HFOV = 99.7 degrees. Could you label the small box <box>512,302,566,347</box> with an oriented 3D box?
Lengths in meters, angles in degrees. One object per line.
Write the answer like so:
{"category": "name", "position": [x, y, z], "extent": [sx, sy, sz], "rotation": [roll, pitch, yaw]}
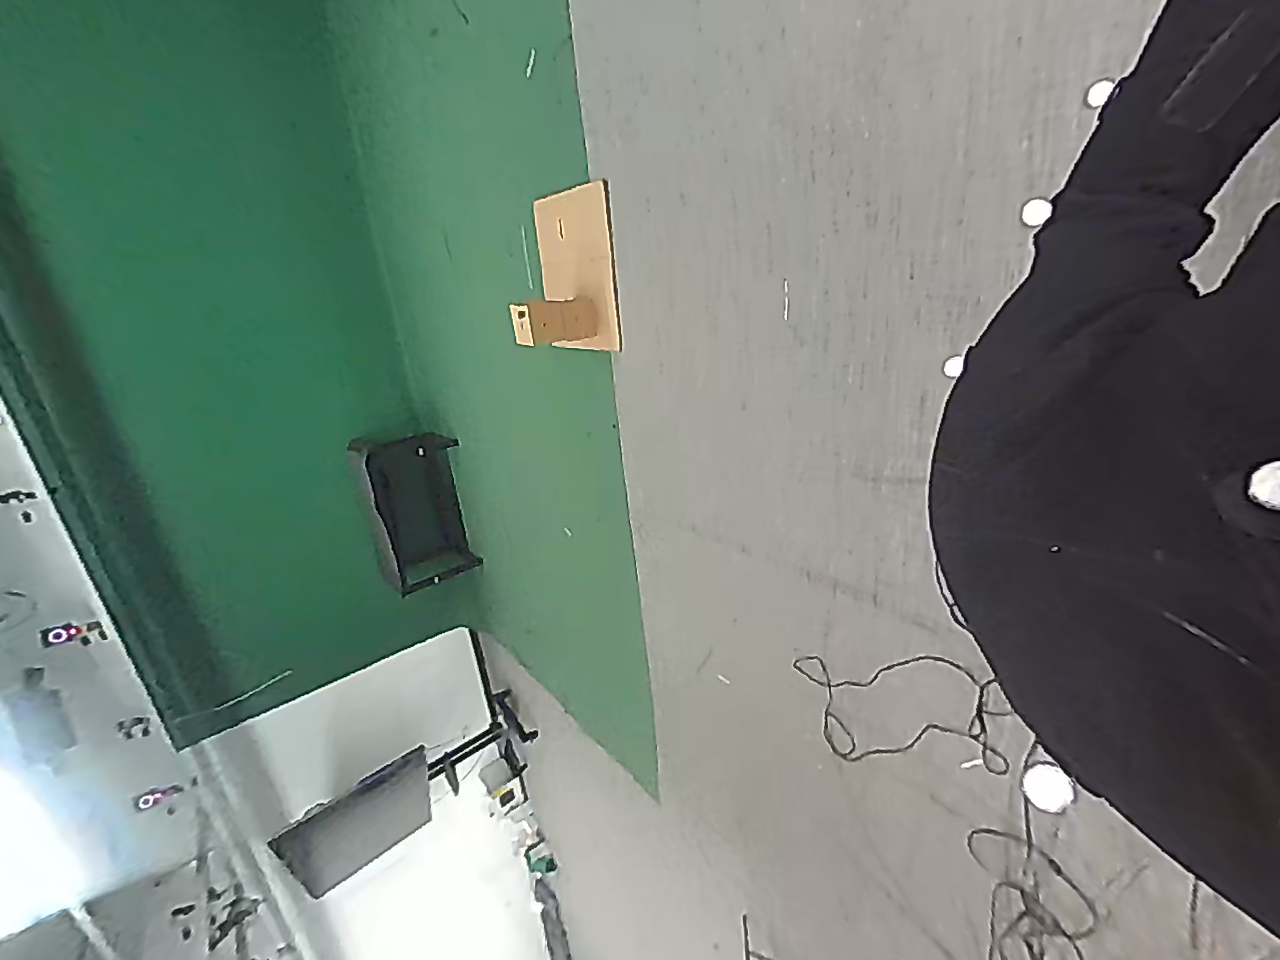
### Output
{"category": "small box", "position": [-0.457, -0.709, 2.448], "extent": [0.168, 0.176, 0.179], "rotation": [23, 126, 47]}
